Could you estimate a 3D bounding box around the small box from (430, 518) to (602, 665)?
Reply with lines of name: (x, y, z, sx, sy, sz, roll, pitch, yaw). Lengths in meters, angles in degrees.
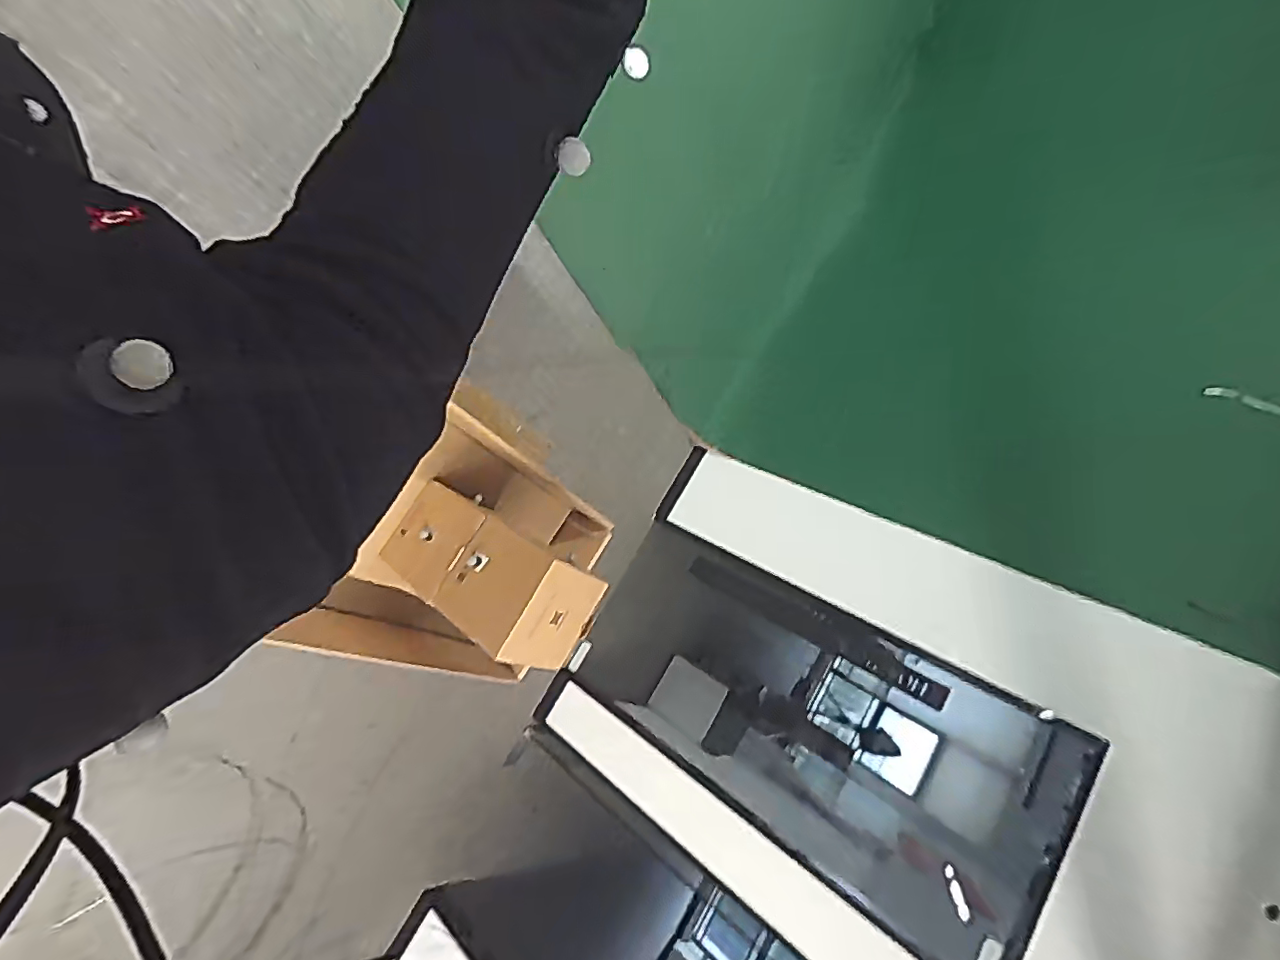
small box: (-0.200, 0.182, 0.889, 0.168, 0.176, 0.179, -60, 147, -8)
